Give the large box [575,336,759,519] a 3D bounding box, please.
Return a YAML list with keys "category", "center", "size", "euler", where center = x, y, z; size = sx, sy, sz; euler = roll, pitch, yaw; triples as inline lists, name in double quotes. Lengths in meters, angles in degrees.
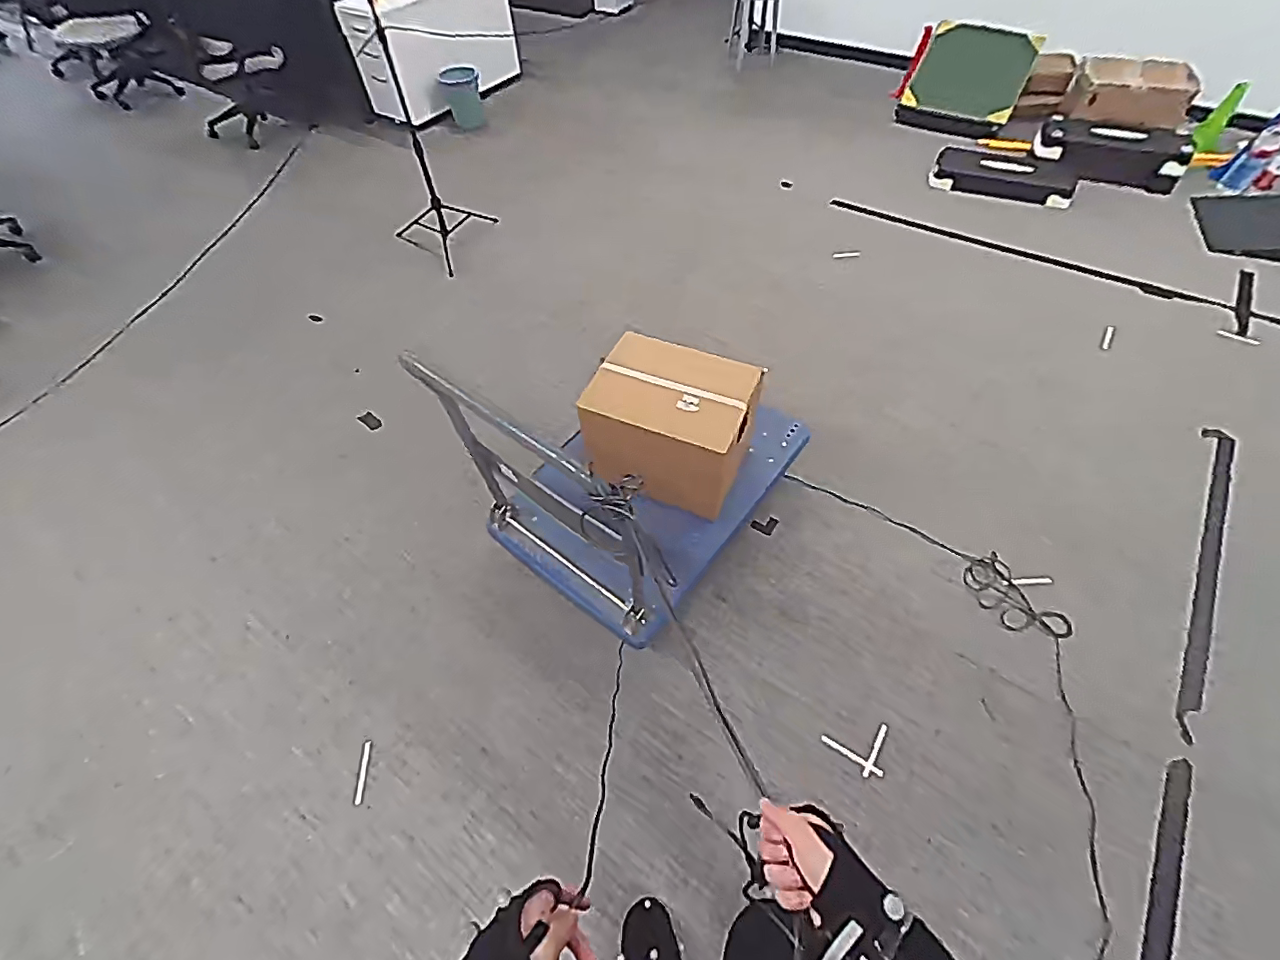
- category: "large box"
  center: [0.075, -0.147, 1.513]
  size: [0.408, 0.320, 0.320]
  euler: [19, 58, 14]
